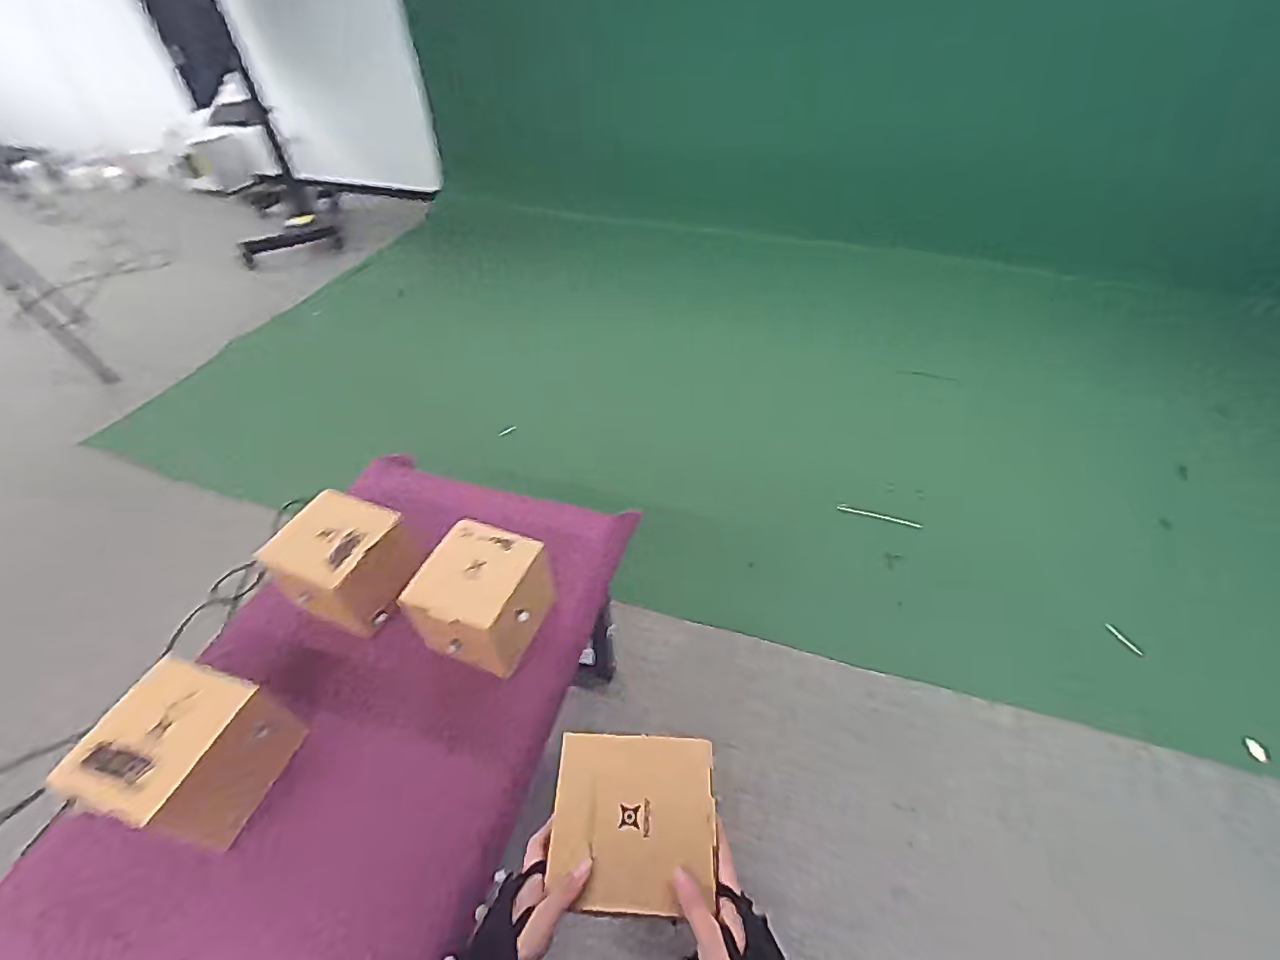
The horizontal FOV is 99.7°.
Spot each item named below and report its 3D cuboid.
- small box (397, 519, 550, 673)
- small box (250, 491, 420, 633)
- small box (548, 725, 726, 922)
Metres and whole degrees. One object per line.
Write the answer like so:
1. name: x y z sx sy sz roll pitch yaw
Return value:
1. small box: -0.269 0.200 0.925 0.168 0.176 0.179 15 49 15
2. small box: -0.531 0.151 0.974 0.179 0.176 0.168 16 48 15
3. small box: 0.005 0.406 0.636 0.179 0.176 0.168 2 49 5
